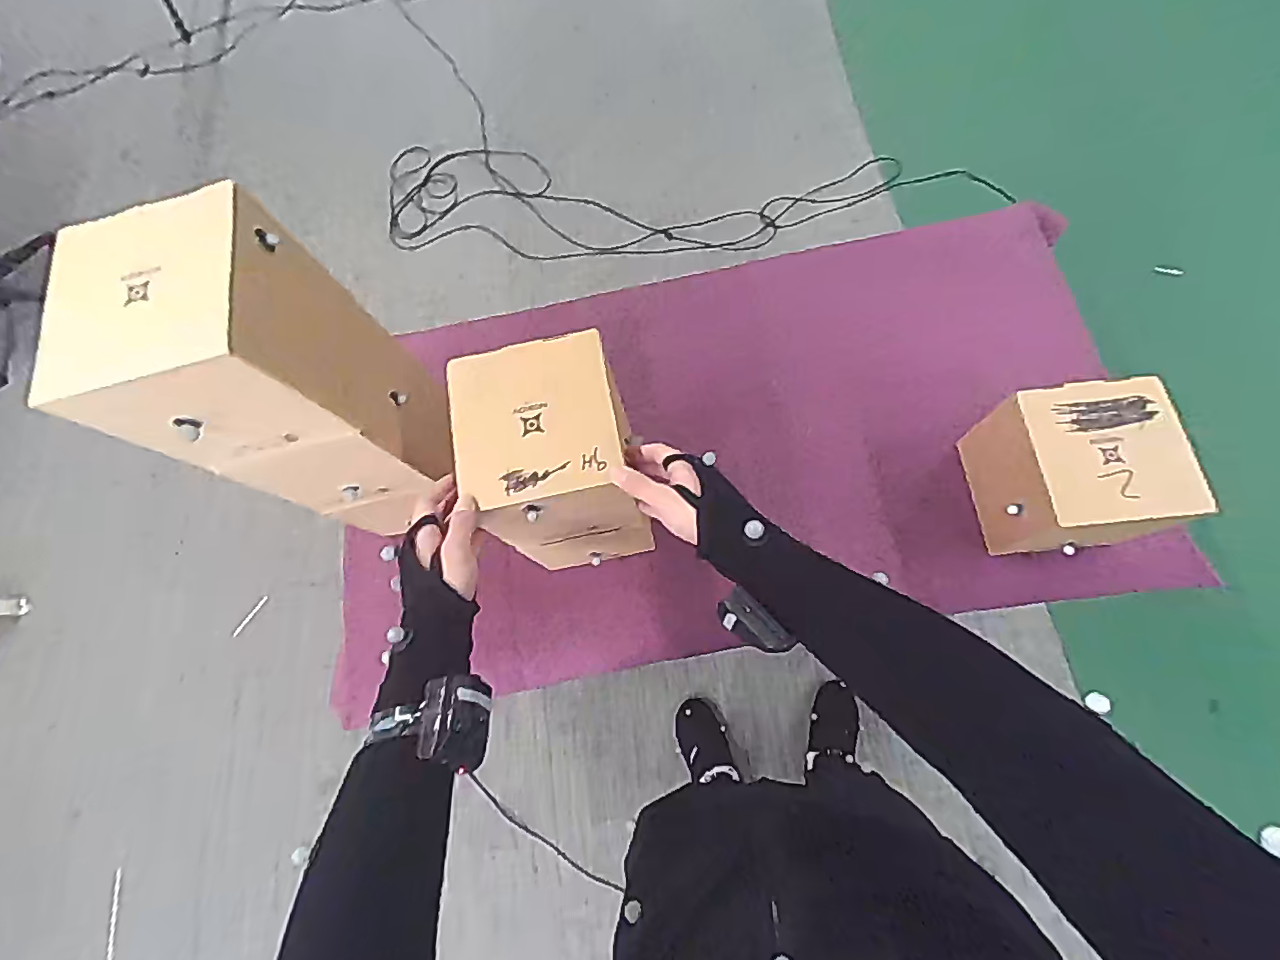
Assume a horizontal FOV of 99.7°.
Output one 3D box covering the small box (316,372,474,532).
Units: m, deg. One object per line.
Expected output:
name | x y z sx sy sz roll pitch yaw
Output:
small box | -0.359 -0.035 0.819 0.168 0.176 0.179 -13 72 3

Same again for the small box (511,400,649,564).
small box | -0.086 0.011 0.773 0.168 0.176 0.179 -11 72 3

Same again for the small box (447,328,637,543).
small box | -0.103 -0.040 0.619 0.168 0.176 0.179 -12 72 3

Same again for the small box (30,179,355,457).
small box | -0.395 -0.133 0.510 0.168 0.176 0.179 -14 71 3

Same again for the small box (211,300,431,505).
small box | -0.376 -0.085 0.665 0.168 0.176 0.179 -13 72 3
